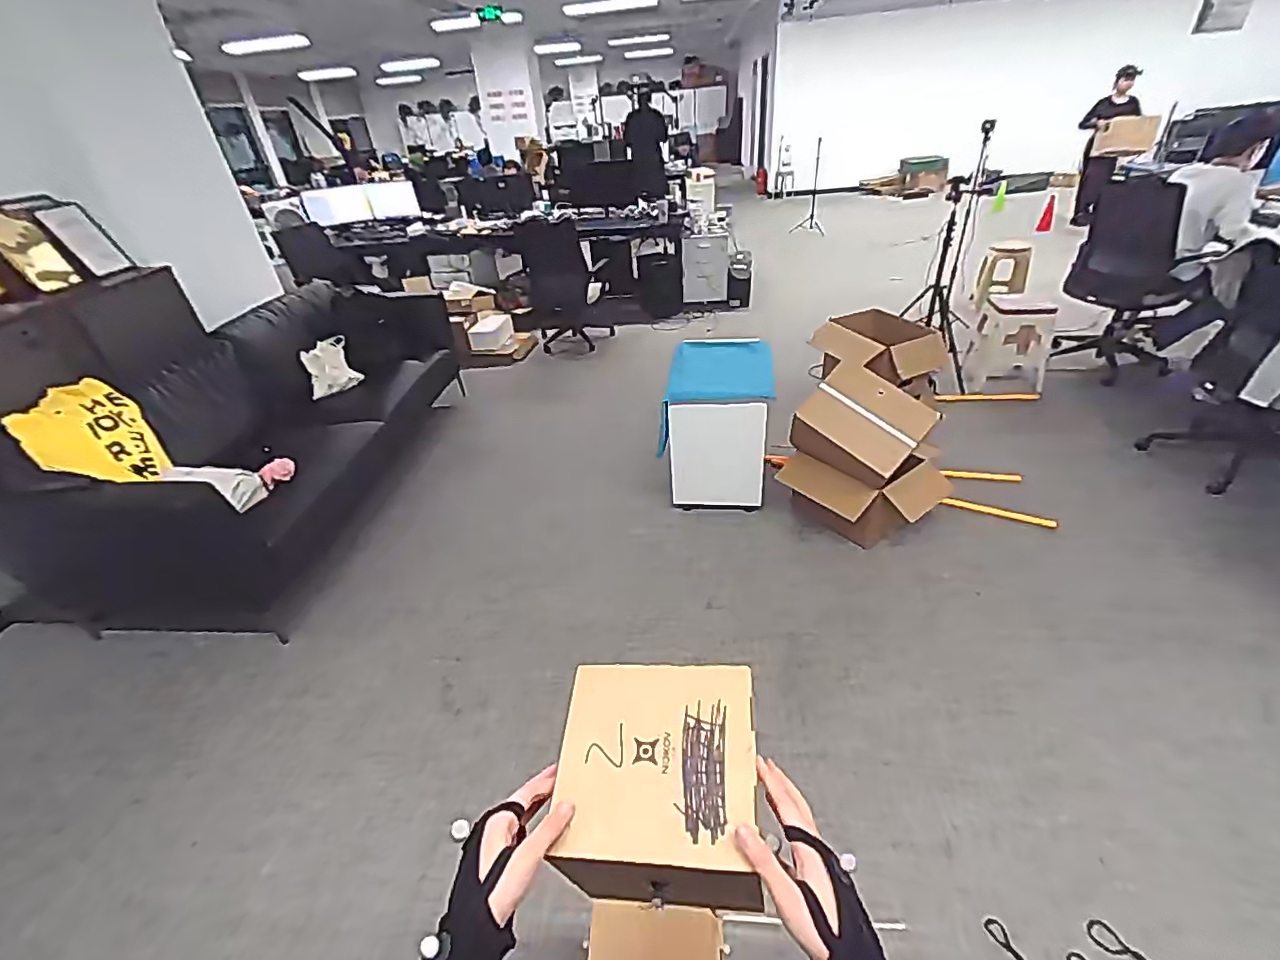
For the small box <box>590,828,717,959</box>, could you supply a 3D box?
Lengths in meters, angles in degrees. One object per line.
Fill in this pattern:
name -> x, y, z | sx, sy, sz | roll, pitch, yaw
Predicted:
small box -> 0.027, 0.642, 0.790 | 0.168, 0.176, 0.179 | -4, 36, 5
